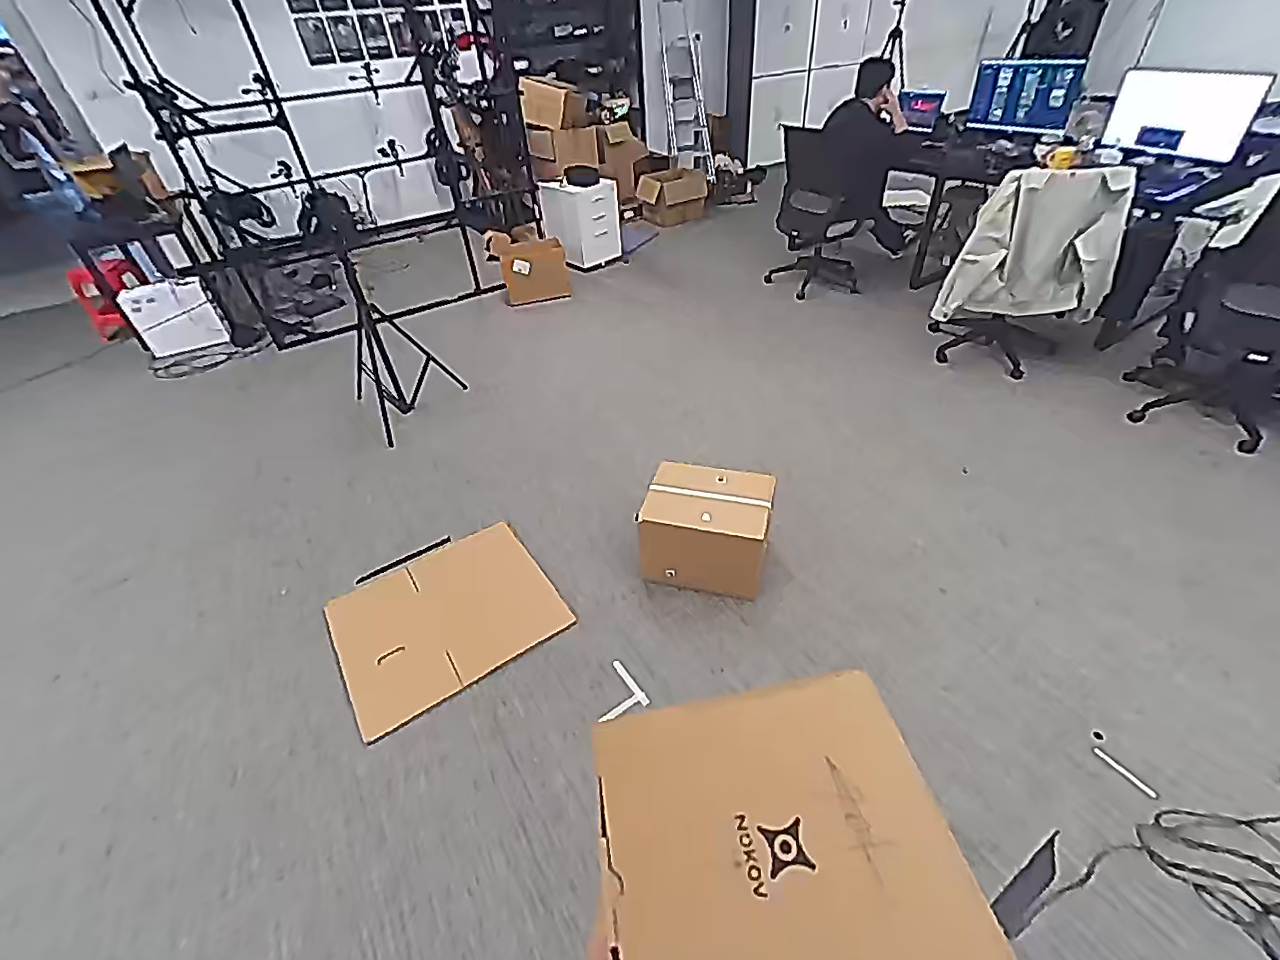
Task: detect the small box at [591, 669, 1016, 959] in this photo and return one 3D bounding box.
[{"bbox_3d":[0.075,0.244,0.325,0.179,0.176,0.168,-10,43,-5],"label":"small box"}]
